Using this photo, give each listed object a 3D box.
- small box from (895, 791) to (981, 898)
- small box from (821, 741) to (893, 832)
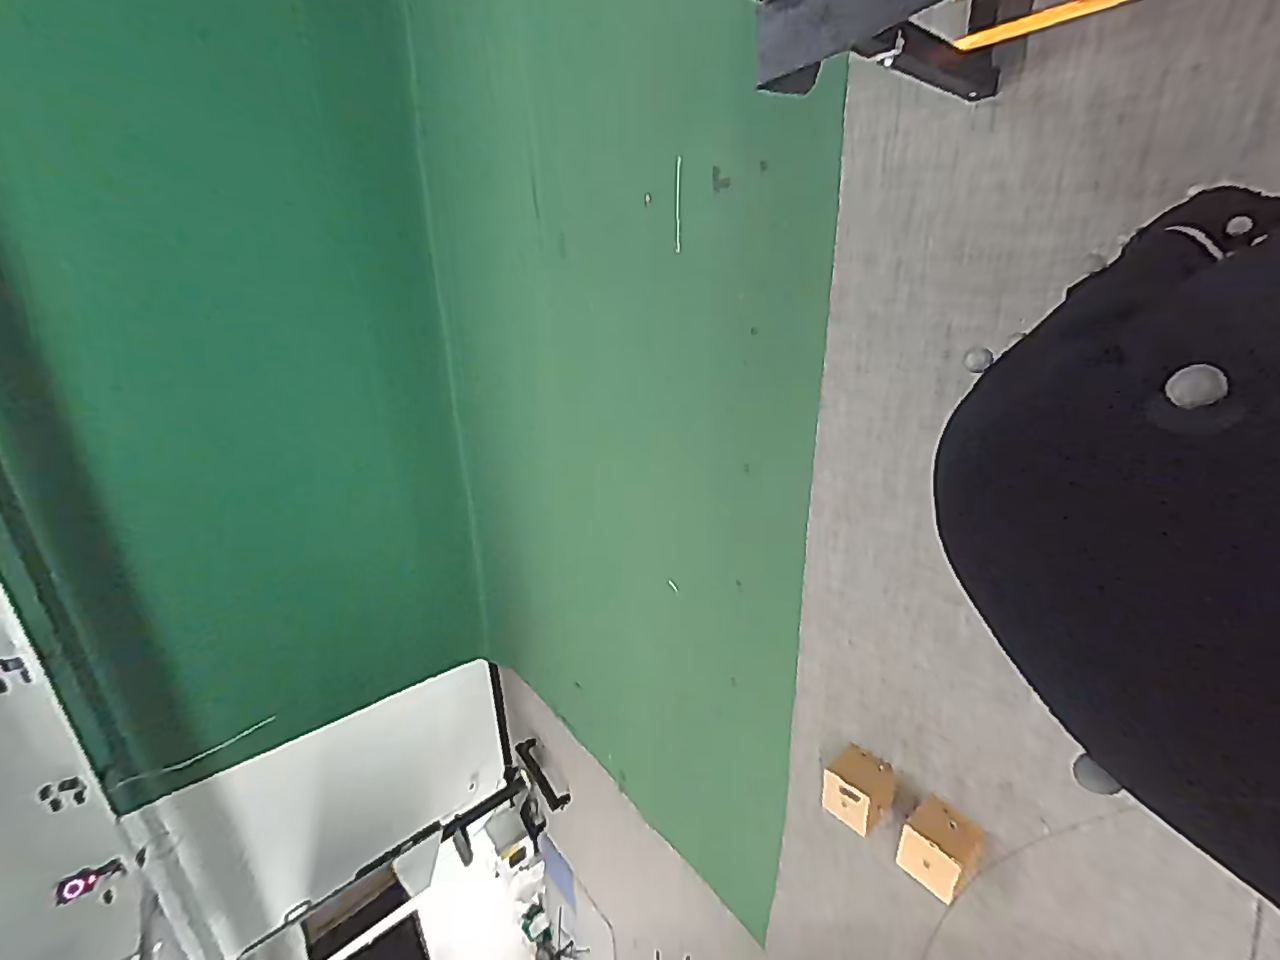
[{"bbox_3d":[0.919,1.113,1.664,0.168,0.176,0.179,24,121,47],"label":"small box"},{"bbox_3d":[0.749,1.046,1.861,0.168,0.176,0.179,20,119,48],"label":"small box"}]
